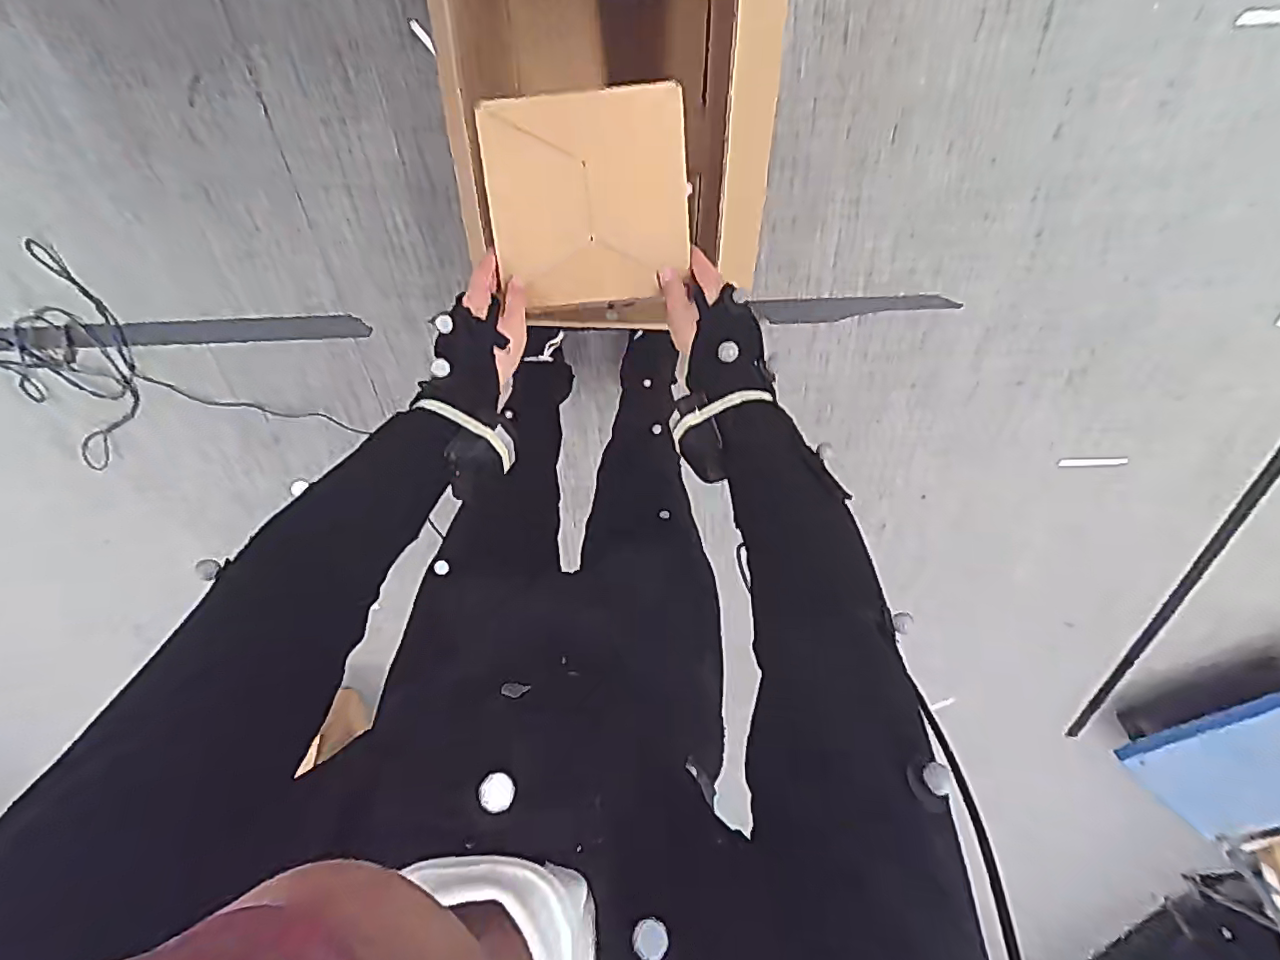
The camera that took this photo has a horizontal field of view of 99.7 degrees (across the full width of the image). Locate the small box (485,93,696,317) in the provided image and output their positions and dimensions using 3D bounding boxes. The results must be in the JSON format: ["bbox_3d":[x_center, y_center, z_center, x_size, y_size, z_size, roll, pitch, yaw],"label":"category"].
[{"bbox_3d":[-0.044,-0.261,0.548,0.179,0.176,0.168,-5,105,0],"label":"small box"}]
